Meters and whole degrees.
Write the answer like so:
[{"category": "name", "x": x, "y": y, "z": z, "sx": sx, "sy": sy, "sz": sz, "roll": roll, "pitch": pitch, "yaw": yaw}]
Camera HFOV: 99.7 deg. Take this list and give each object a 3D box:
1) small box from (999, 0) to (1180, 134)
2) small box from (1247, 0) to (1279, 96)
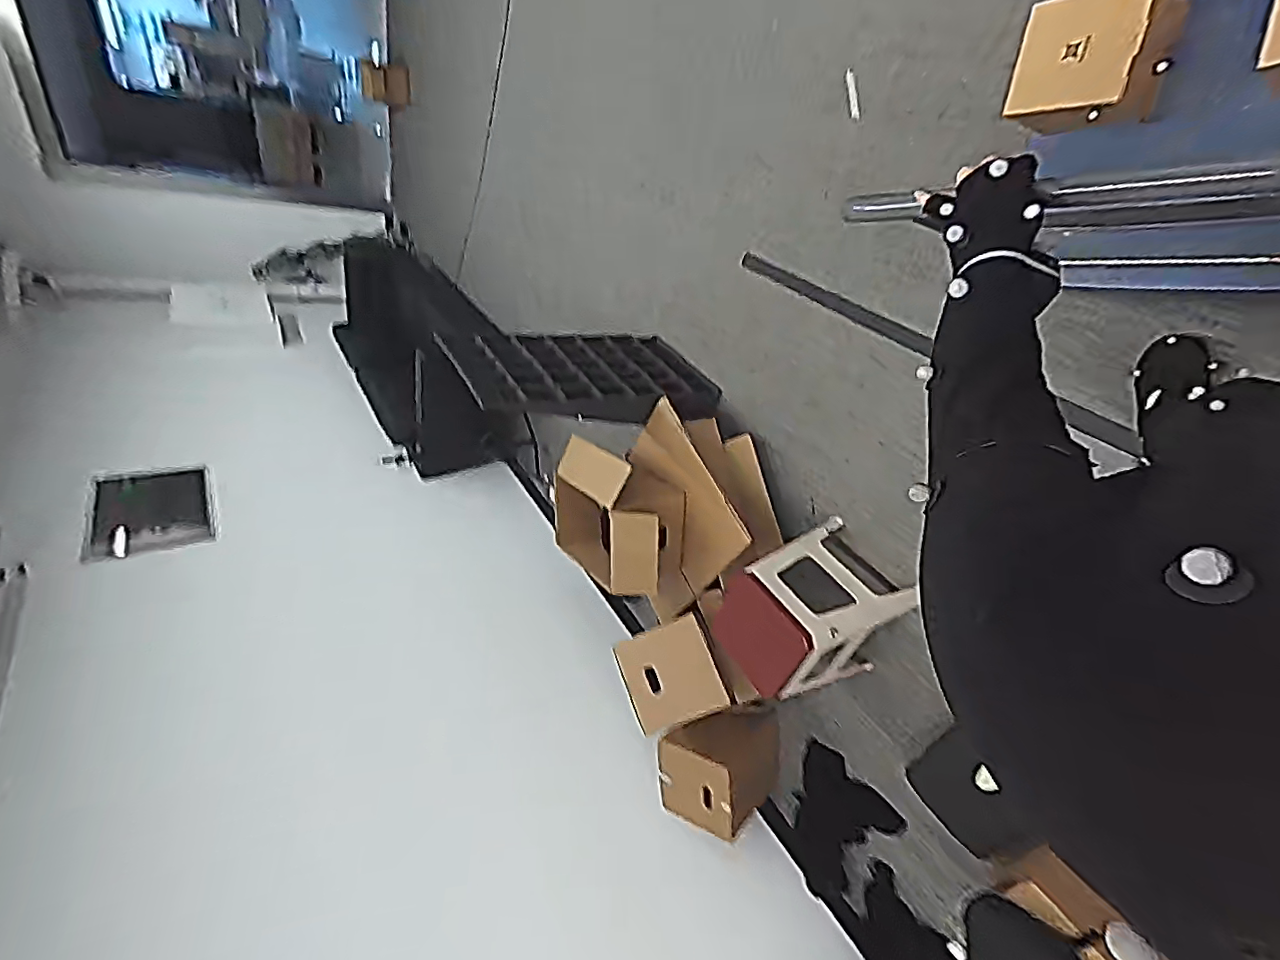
[{"category": "small box", "x": 0.773, "y": -0.717, "z": 0.935, "sx": 0.179, "sy": 0.176, "sz": 0.168, "roll": 30, "pitch": 122, "yaw": 46}, {"category": "small box", "x": 0.953, "y": -0.630, "z": 0.700, "sx": 0.179, "sy": 0.176, "sz": 0.168, "roll": 22, "pitch": 117, "yaw": 51}]
